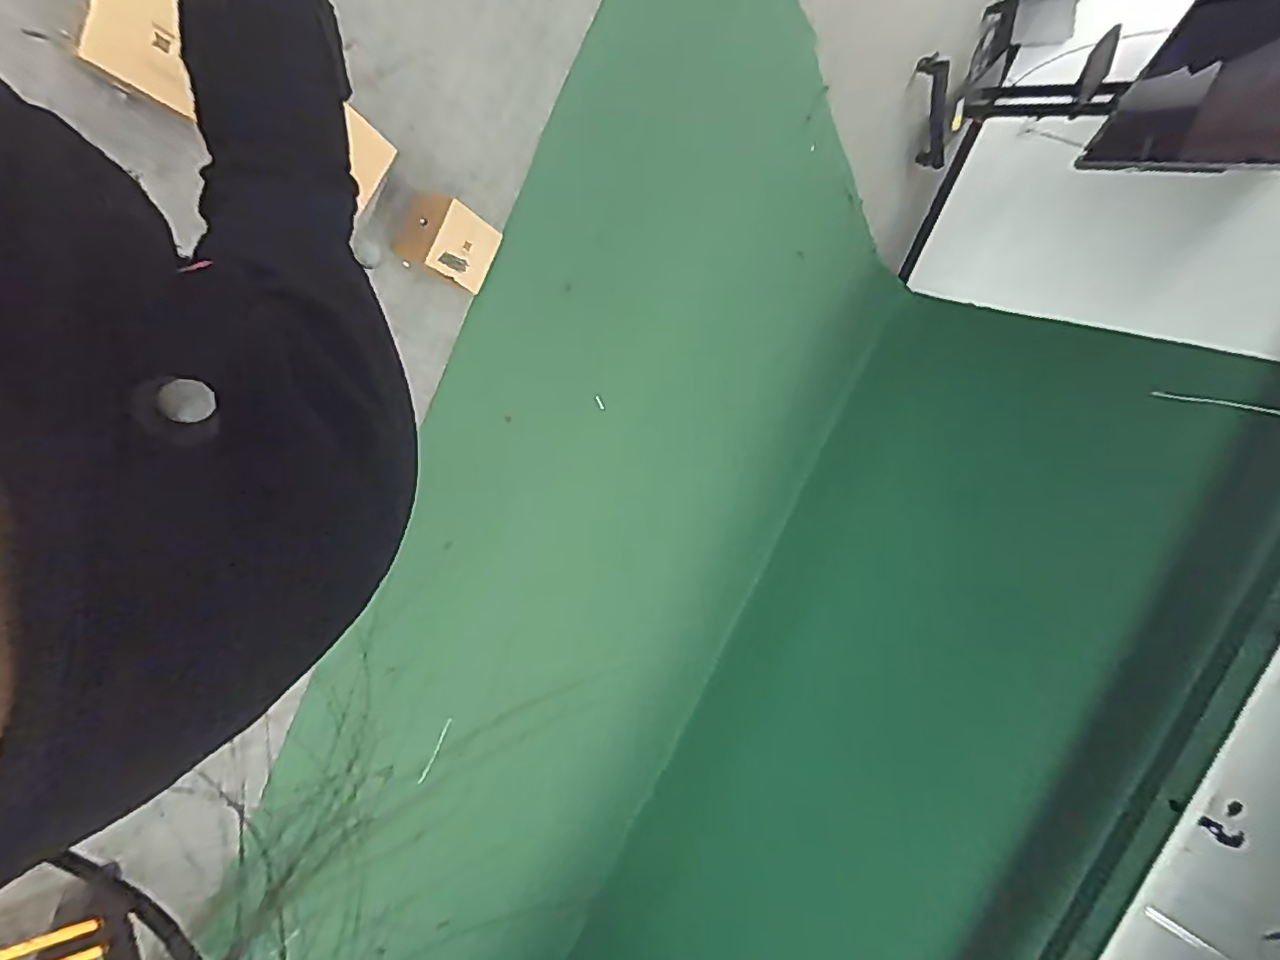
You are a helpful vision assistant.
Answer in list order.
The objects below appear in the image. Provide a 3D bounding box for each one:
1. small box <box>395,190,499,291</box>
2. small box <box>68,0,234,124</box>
[{"bbox_3d":[-0.510,-0.626,1.414,0.168,0.176,0.179,21,95,-56],"label":"small box"},{"bbox_3d":[-0.830,-0.744,0.916,0.168,0.176,0.179,14,103,-53],"label":"small box"}]
